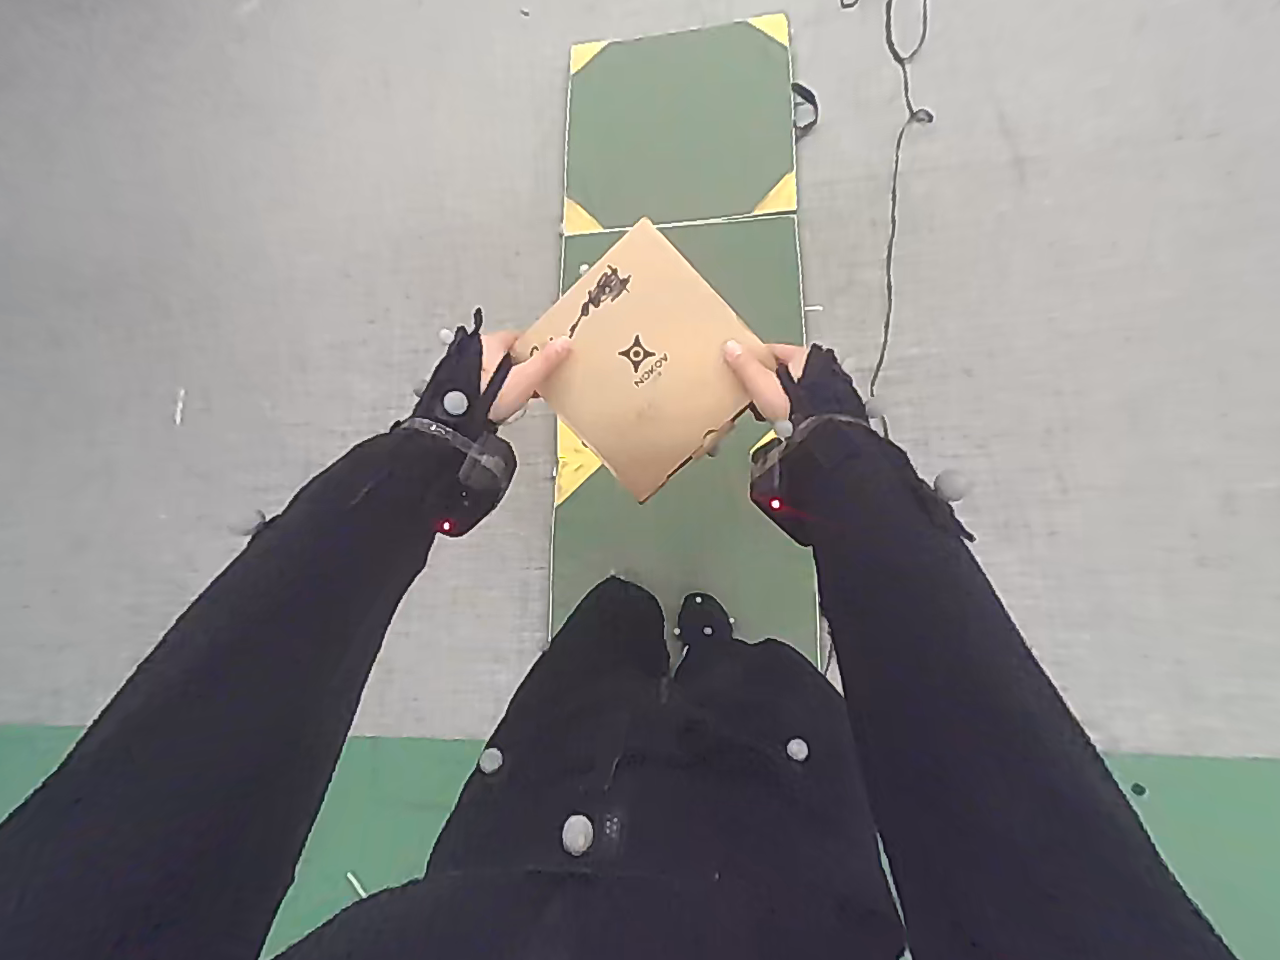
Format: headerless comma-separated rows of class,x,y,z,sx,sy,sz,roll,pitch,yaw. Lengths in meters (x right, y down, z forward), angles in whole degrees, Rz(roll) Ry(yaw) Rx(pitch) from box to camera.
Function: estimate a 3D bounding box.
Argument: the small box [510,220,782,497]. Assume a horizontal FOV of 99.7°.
small box,0.009,-0.106,0.535,0.168,0.176,0.179,-42,90,5
